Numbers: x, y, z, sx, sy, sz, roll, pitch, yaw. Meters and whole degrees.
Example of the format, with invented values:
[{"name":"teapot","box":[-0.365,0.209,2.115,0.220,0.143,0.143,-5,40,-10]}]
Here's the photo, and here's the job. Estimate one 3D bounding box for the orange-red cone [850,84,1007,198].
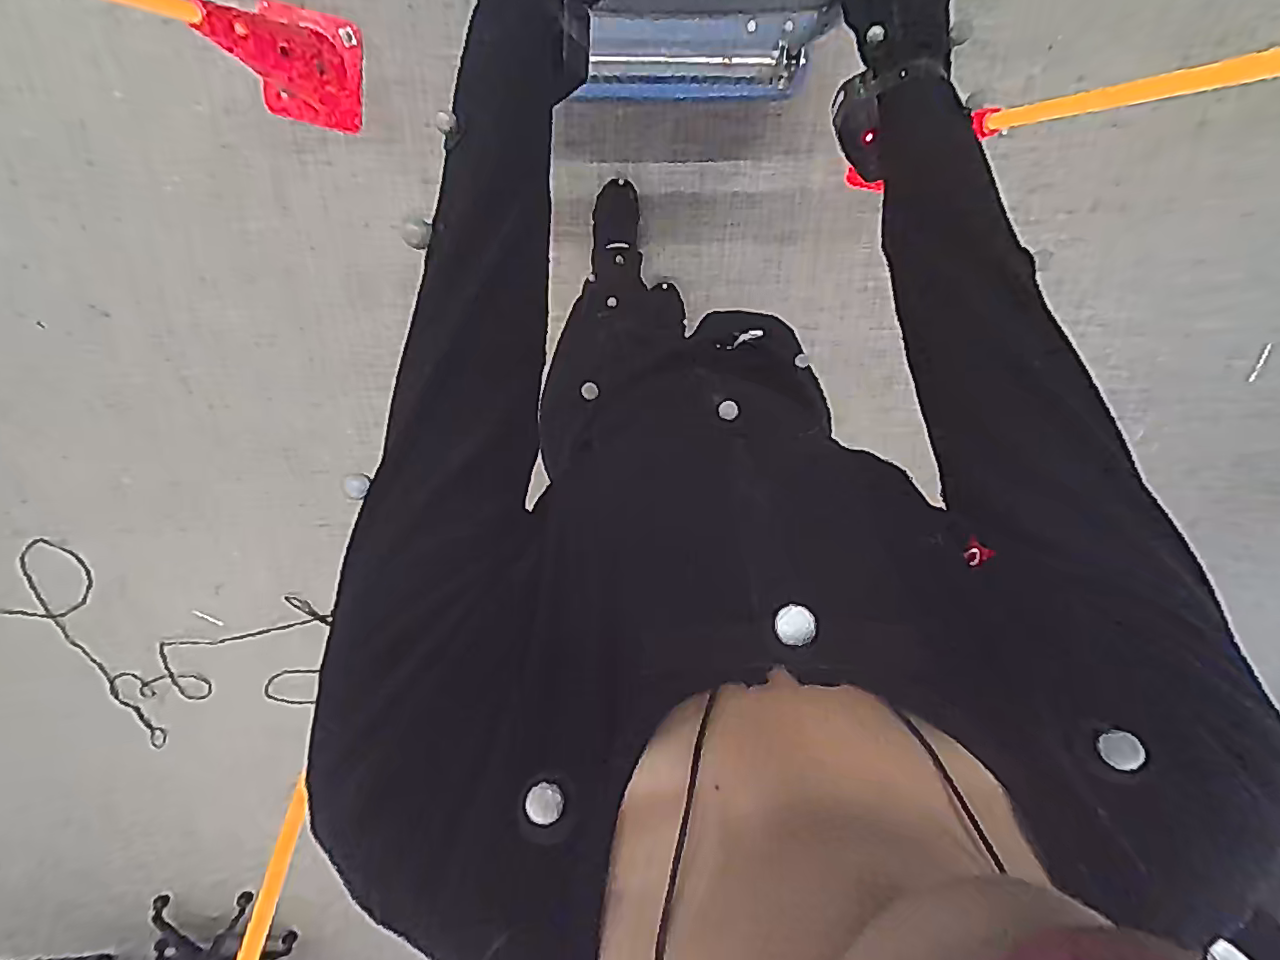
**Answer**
[{"name":"orange-red cone","box":[0.603,-0.692,1.078,0.198,0.360,0.199,9,116,-6]}]
